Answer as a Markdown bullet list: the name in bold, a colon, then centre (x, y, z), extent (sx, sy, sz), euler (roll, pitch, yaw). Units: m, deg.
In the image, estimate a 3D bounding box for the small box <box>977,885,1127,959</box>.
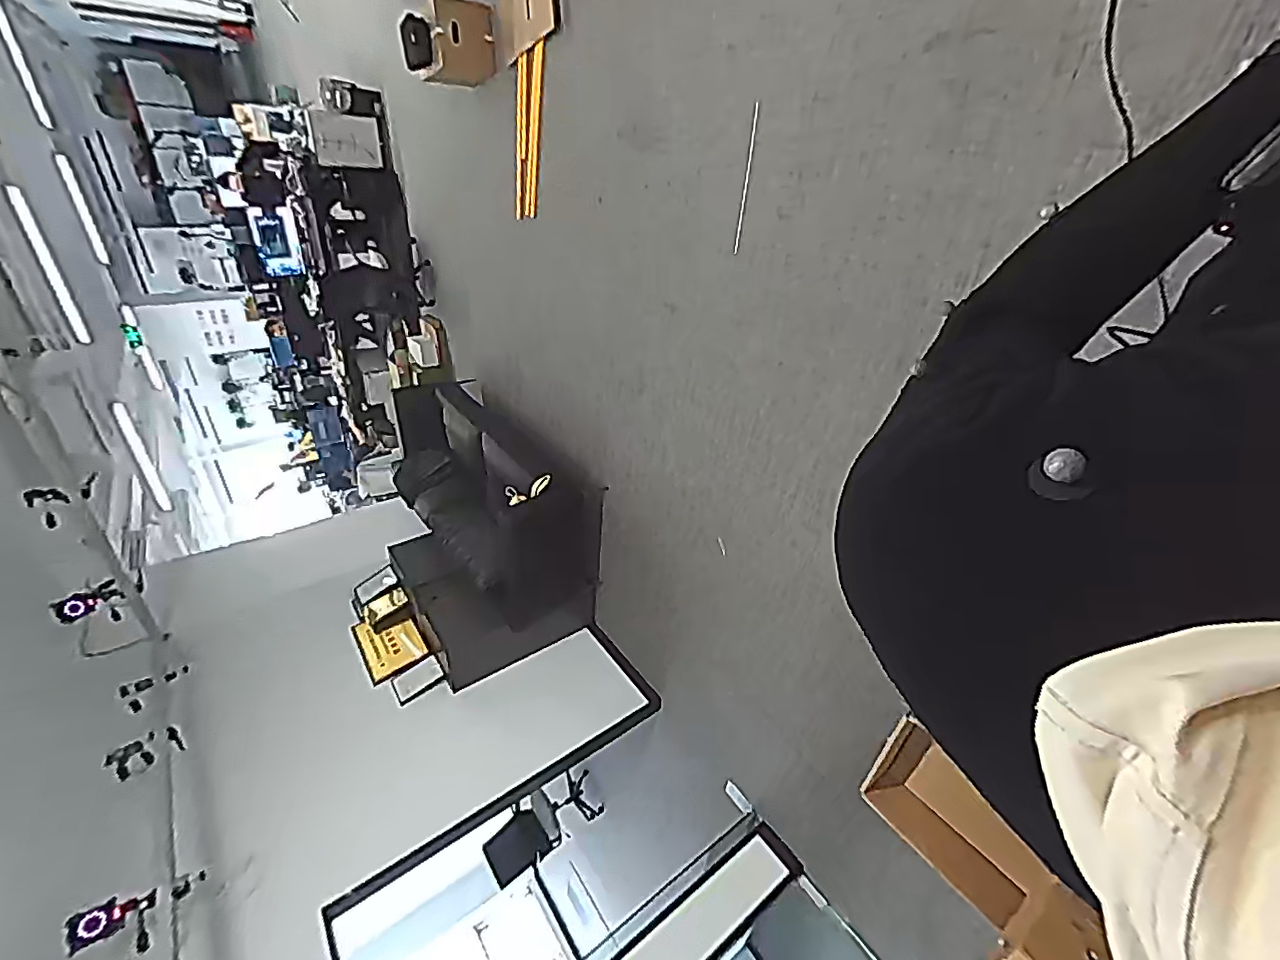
- **small box**: centre (0.839, 0.986, 1.102), extent (0.168, 0.176, 0.179), euler (39, 136, 38)
